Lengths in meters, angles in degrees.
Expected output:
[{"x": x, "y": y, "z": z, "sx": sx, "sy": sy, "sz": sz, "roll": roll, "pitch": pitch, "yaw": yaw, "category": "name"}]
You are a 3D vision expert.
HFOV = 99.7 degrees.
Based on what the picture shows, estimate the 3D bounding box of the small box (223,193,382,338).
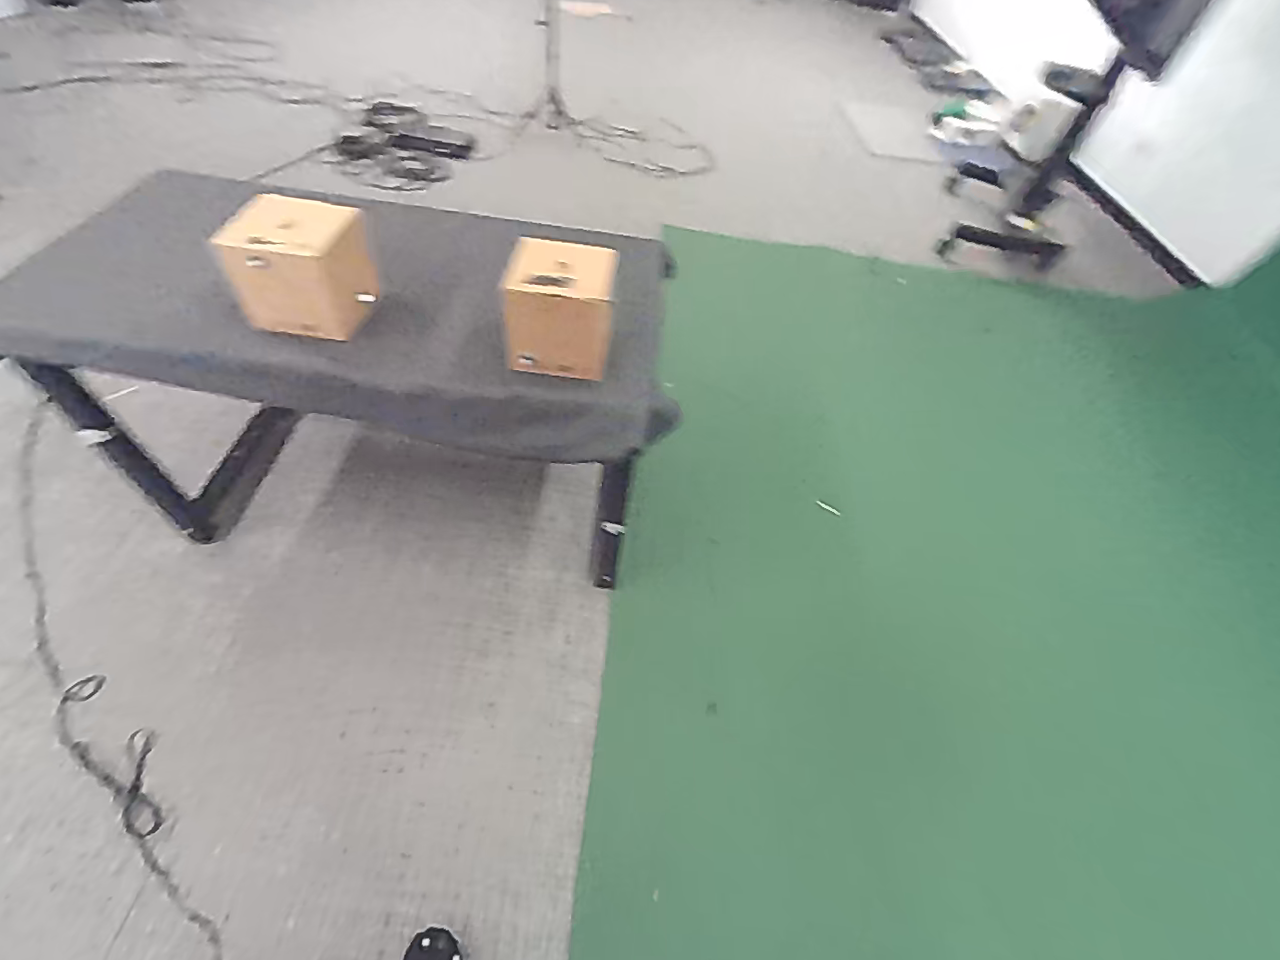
[{"x": -0.587, "y": -0.384, "z": 0.973, "sx": 0.168, "sy": 0.176, "sz": 0.179, "roll": 8, "pitch": 50, "yaw": -2, "category": "small box"}]

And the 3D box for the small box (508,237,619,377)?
[{"x": -0.132, "y": -0.310, "z": 0.980, "sx": 0.168, "sy": 0.176, "sz": 0.179, "roll": 8, "pitch": 50, "yaw": -2, "category": "small box"}]
